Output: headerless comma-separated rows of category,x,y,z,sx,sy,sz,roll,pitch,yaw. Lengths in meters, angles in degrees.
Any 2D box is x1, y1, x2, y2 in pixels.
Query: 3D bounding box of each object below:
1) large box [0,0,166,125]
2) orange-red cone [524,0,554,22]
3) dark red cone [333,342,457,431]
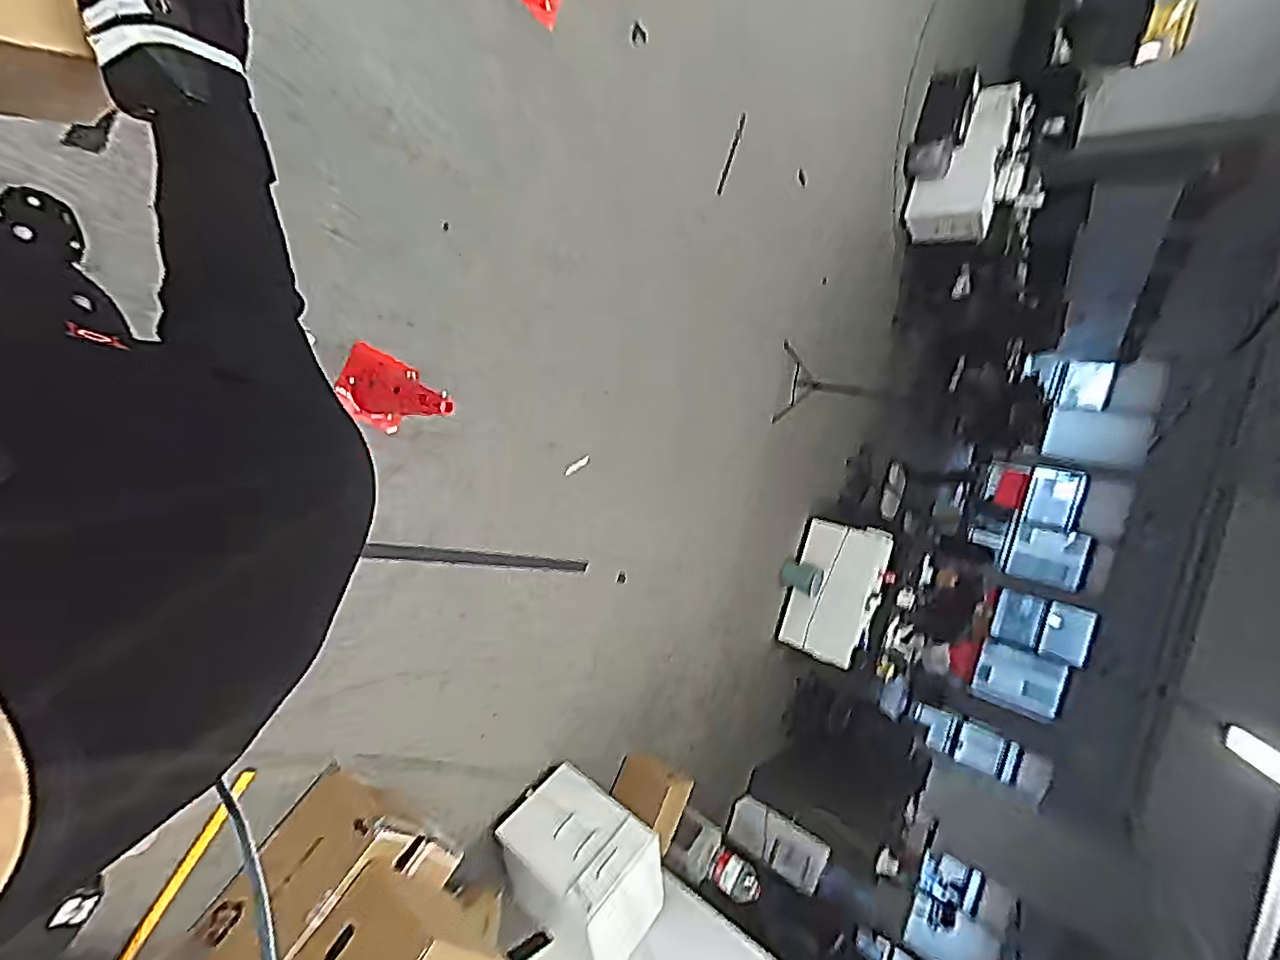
large box,-0.575,-0.411,0.274,0.408,0.320,0.320,-23,123,-46
orange-red cone,-0.180,-1.444,1.458,0.198,0.360,0.199,14,91,-54
dark red cone,-0.584,-0.211,1.369,0.201,0.394,0.202,28,81,-52
